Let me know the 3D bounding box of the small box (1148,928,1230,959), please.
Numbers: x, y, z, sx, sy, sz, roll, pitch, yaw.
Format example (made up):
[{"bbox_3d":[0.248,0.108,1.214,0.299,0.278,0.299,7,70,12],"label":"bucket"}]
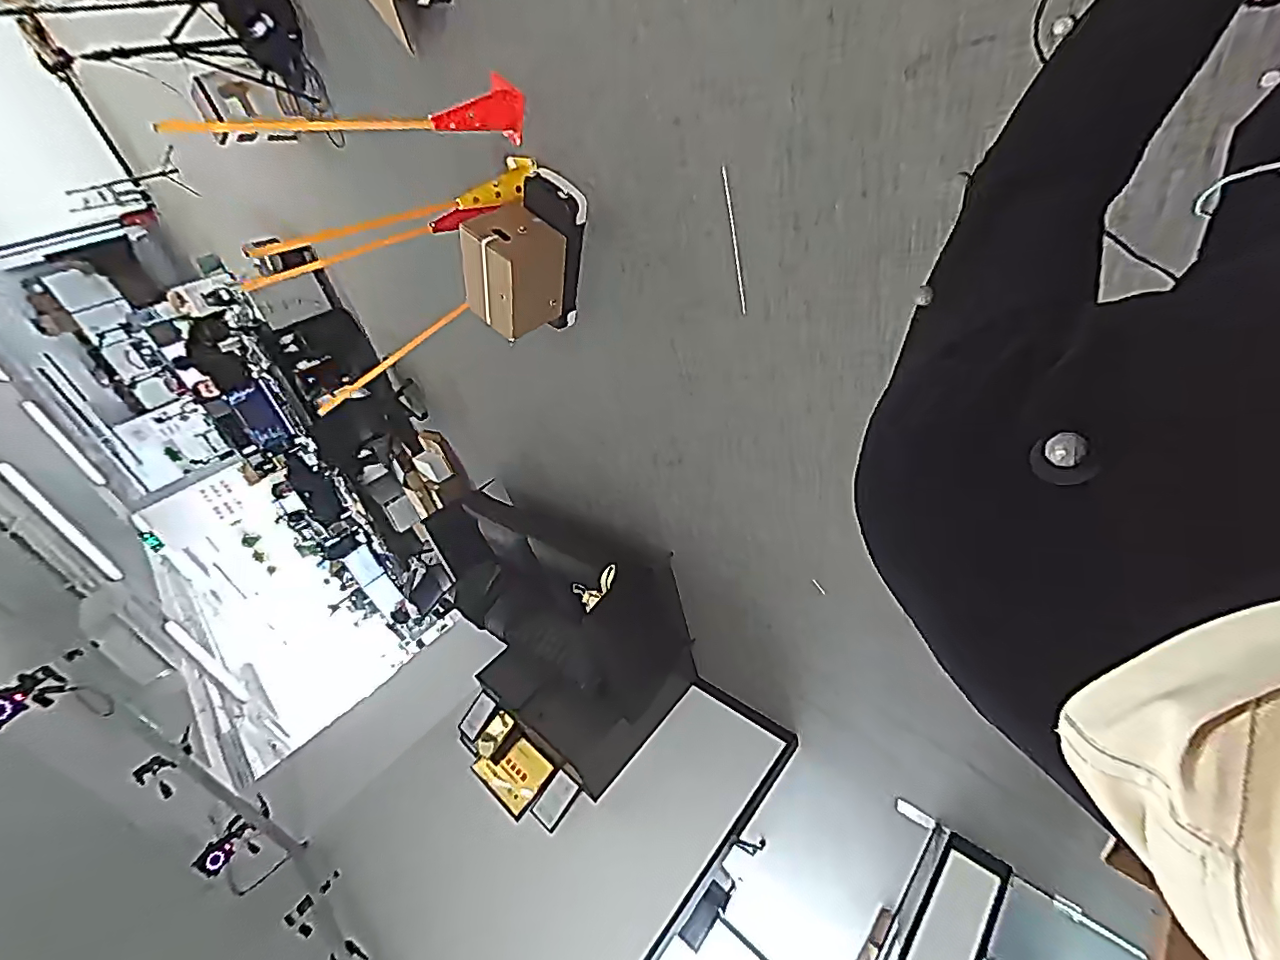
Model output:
[{"bbox_3d":[1.162,1.081,1.111,0.168,0.176,0.179,21,138,42],"label":"small box"}]
